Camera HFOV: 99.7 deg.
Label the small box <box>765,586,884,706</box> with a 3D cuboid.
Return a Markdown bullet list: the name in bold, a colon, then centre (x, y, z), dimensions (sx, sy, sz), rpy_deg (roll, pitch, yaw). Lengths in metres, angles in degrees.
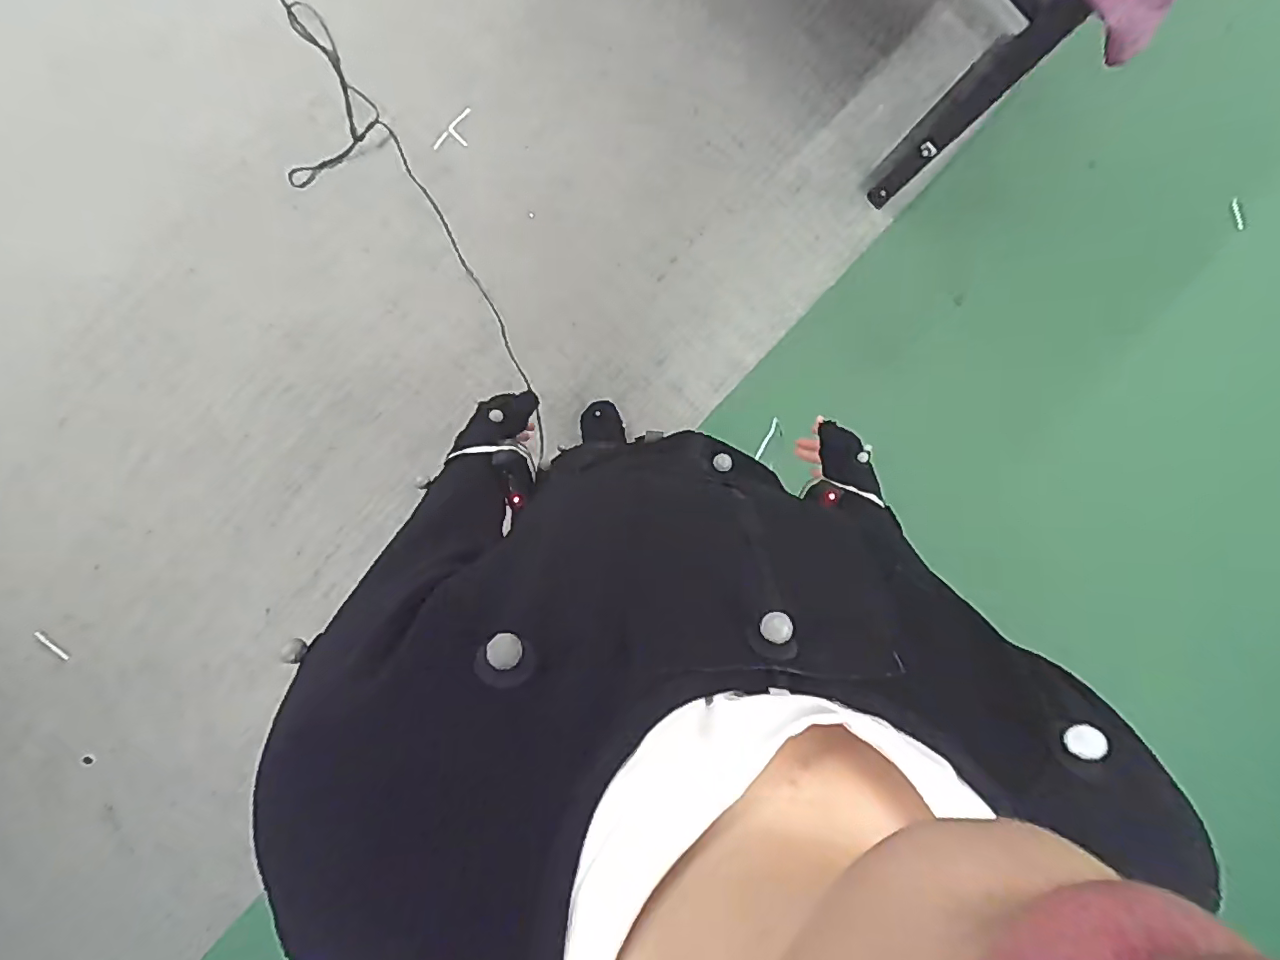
- **small box**: centre (0.418, 0.376, 1.263), dimensions (0.168, 0.176, 0.179), rpy_deg (43, 93, -4)
